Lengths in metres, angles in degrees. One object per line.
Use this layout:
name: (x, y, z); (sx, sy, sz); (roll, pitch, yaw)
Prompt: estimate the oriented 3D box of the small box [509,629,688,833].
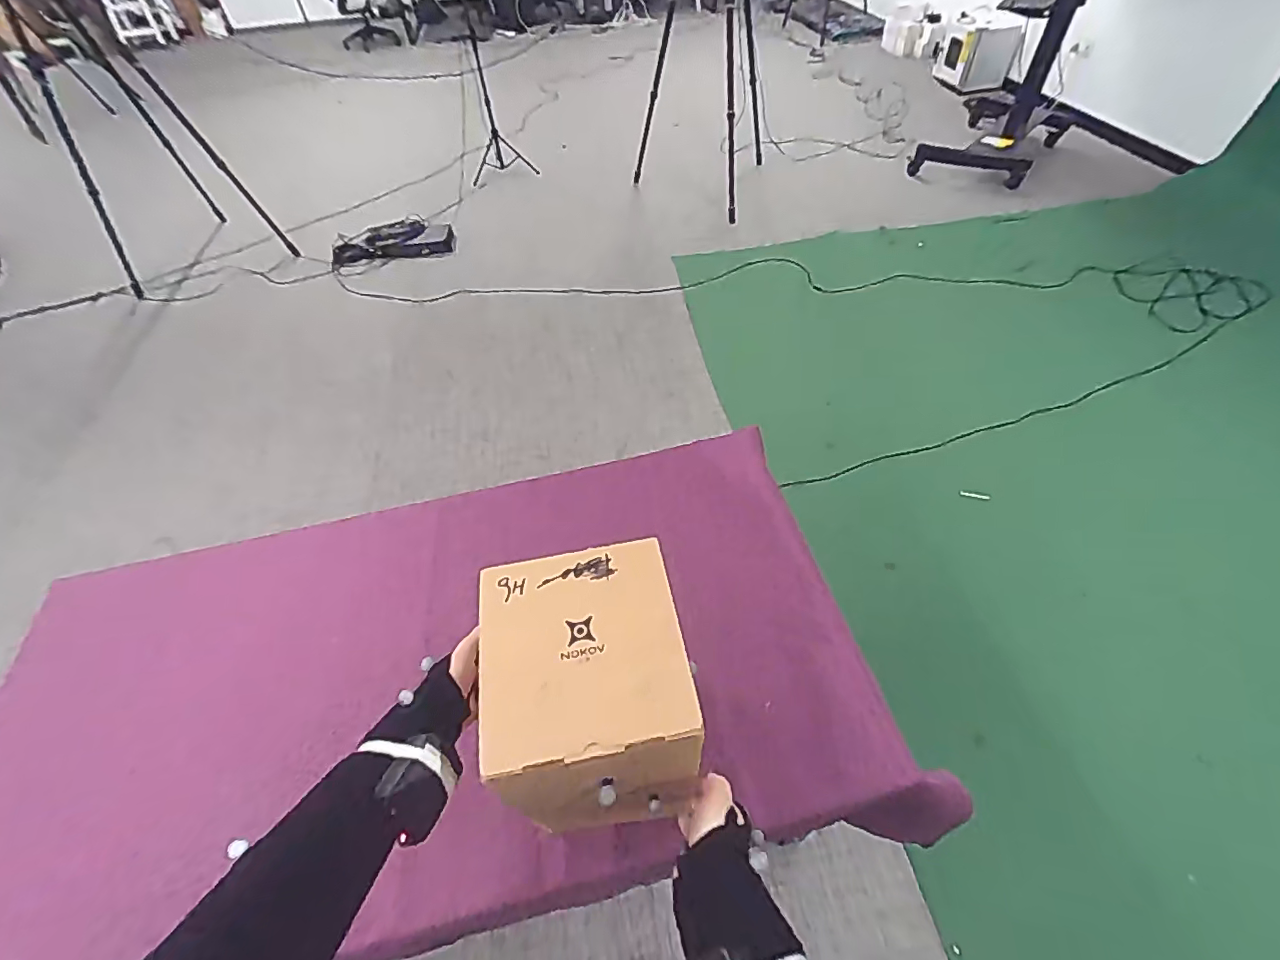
small box: (-0.042, 0.295, 0.628); (0.179, 0.176, 0.168); (-7, 50, -2)
